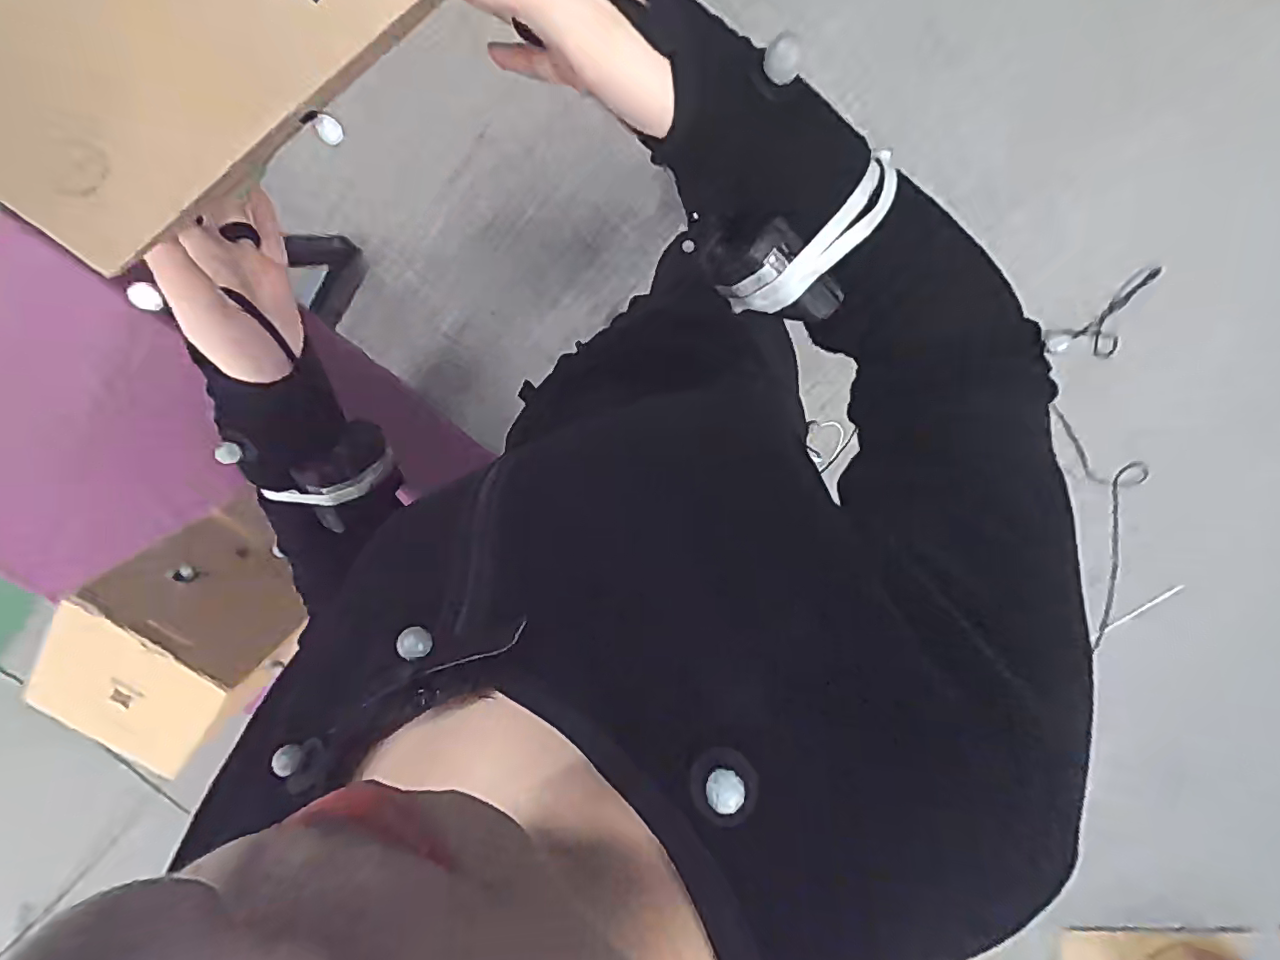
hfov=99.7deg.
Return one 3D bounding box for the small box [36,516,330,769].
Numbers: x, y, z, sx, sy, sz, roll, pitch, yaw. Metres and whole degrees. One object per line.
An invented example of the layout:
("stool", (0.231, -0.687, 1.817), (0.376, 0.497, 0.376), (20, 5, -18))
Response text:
("small box", (-0.490, 0.172, 0.607), (0.168, 0.176, 0.179), (39, 112, -11))
